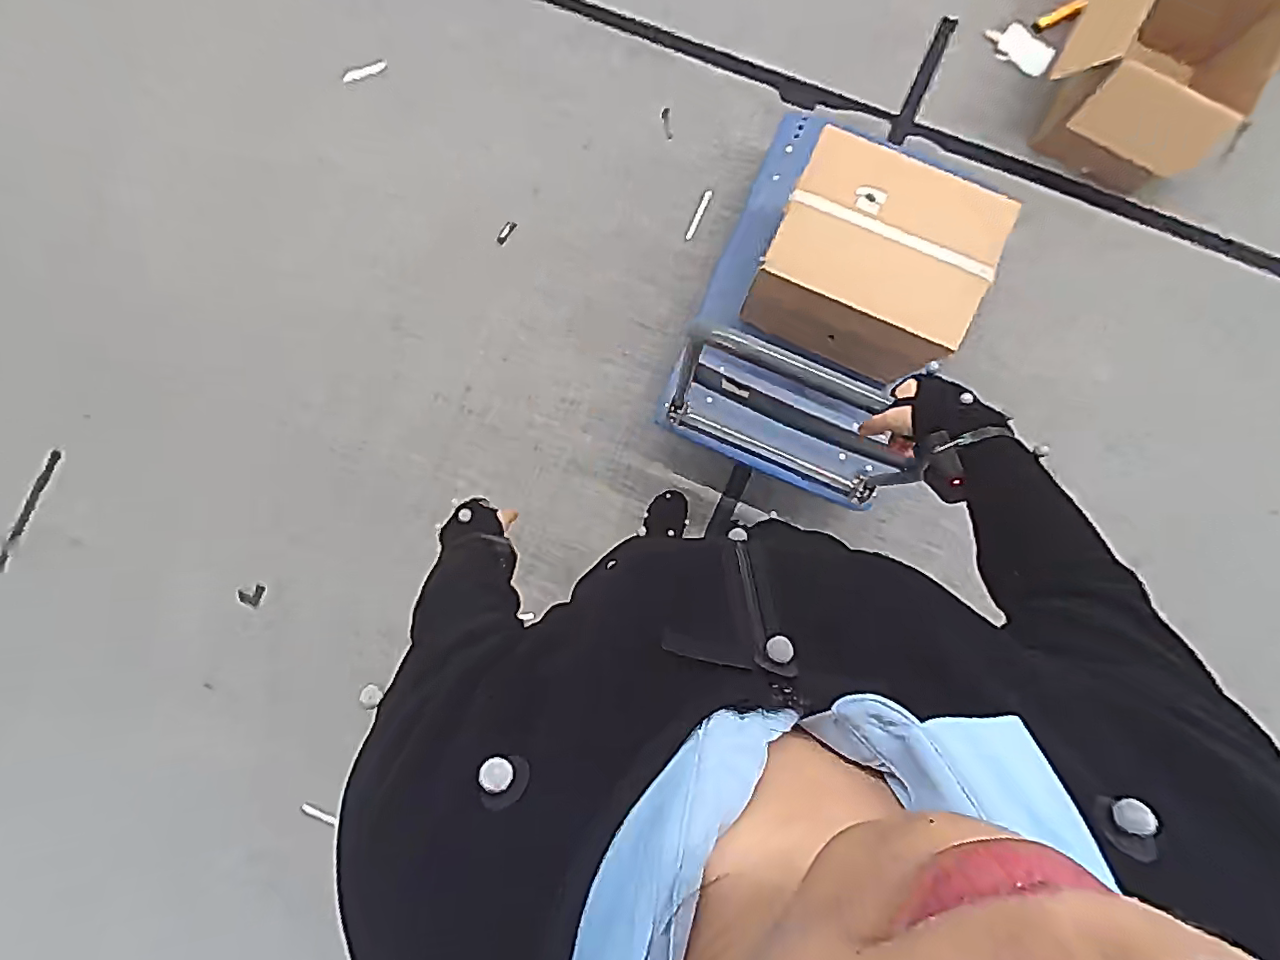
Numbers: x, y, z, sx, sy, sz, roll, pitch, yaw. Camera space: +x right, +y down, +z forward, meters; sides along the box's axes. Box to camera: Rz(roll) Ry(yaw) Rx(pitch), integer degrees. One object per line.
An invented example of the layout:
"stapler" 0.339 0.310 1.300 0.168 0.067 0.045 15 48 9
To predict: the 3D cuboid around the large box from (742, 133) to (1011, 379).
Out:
"large box" 0.485 -0.463 1.197 0.408 0.320 0.320 24 88 4
